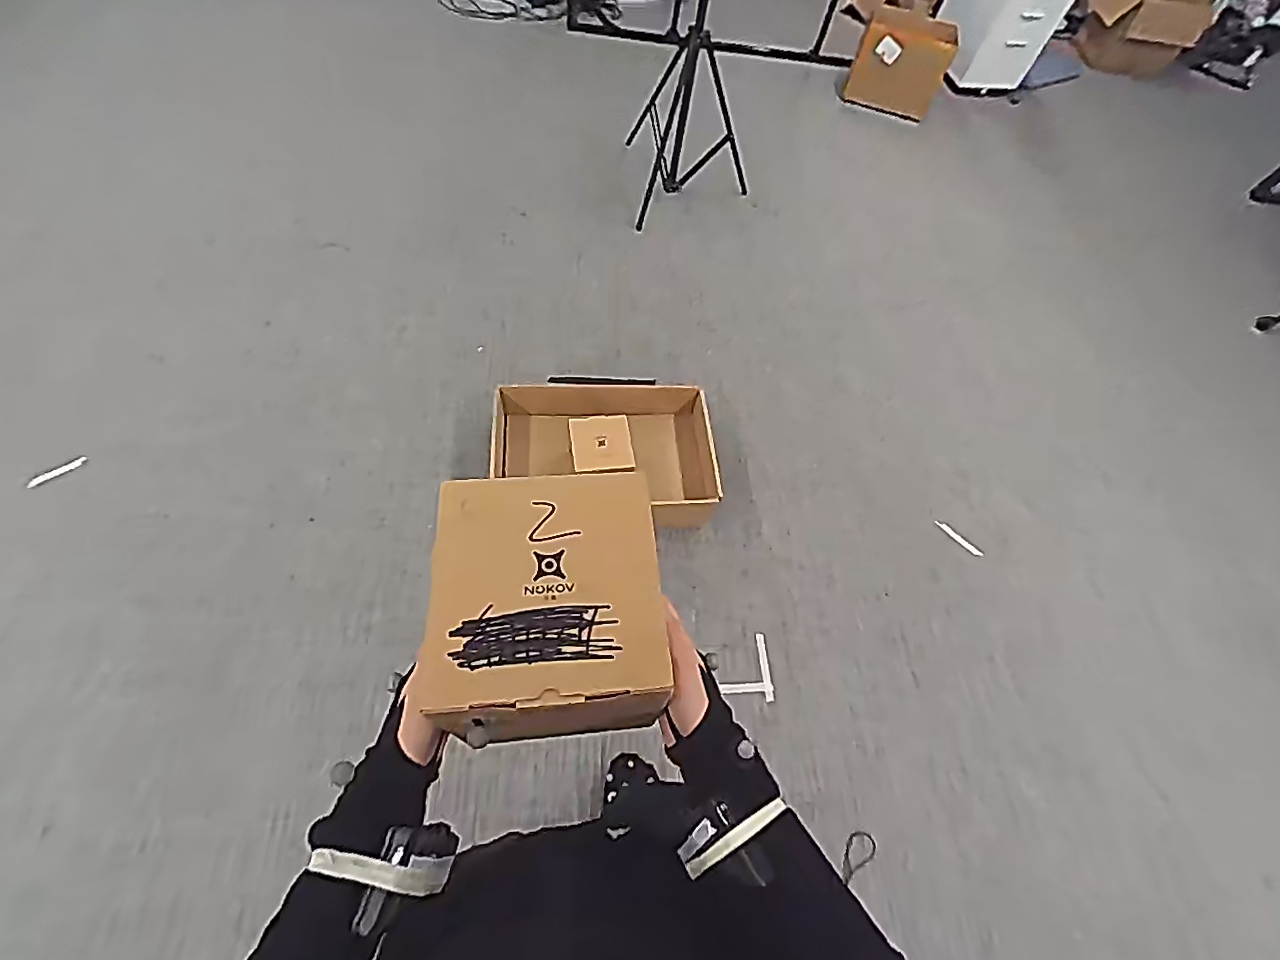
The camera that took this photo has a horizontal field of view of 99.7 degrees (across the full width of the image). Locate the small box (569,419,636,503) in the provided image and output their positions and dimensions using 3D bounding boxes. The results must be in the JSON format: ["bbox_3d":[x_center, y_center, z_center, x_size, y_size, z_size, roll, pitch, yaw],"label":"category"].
[{"bbox_3d":[-0.113,-0.054,1.551,0.168,0.176,0.179,-6,63,-10],"label":"small box"}]
